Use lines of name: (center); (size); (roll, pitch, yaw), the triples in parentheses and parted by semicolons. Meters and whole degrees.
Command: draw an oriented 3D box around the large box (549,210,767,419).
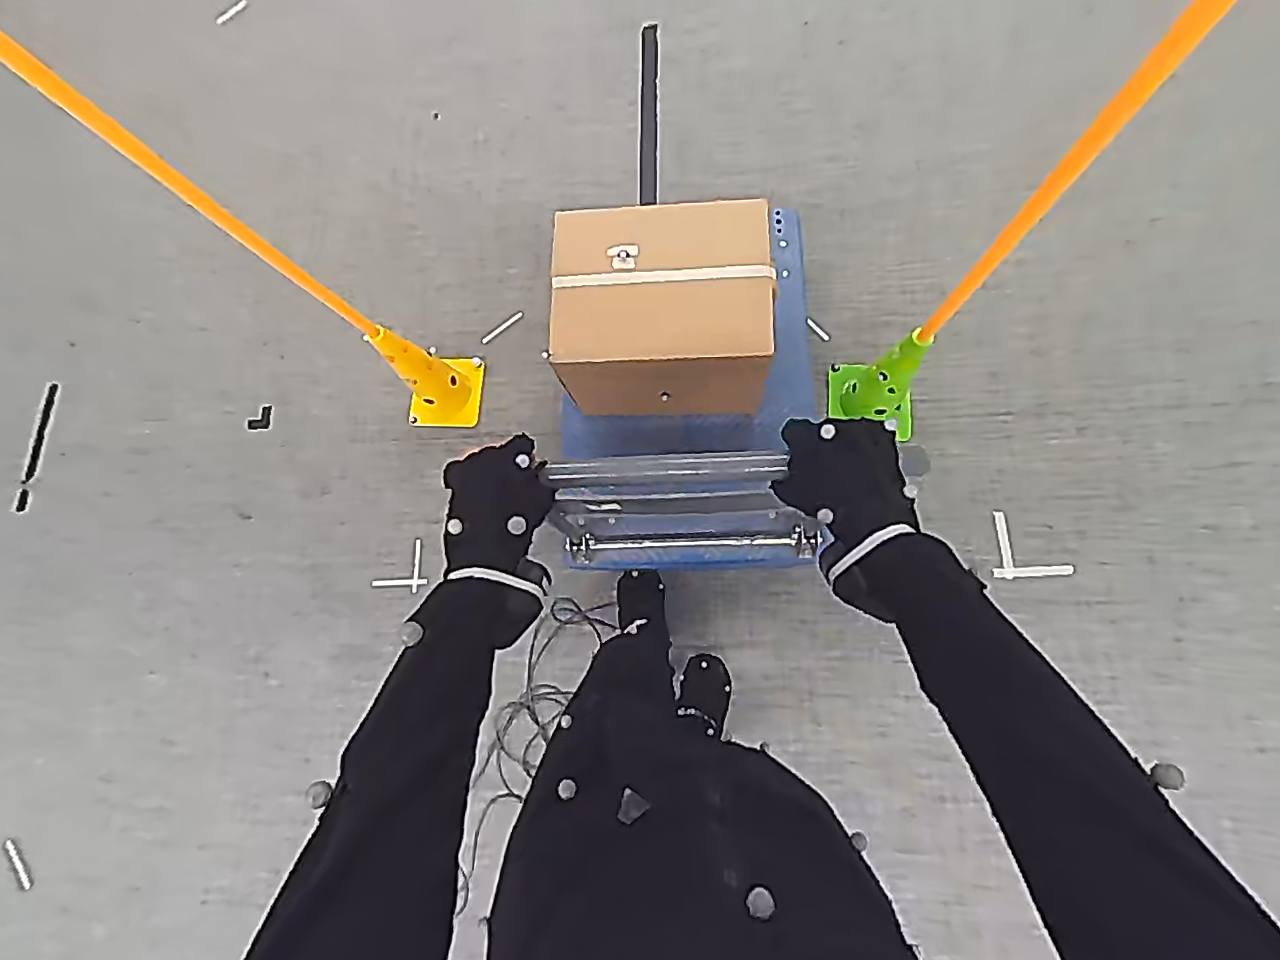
large box: (0.048, -0.323, 1.150); (0.408, 0.320, 0.320); (-1, 78, 7)

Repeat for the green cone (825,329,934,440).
green cone: (0.560, -0.234, 1.219); (0.202, 0.368, 0.200); (3, 79, 6)
